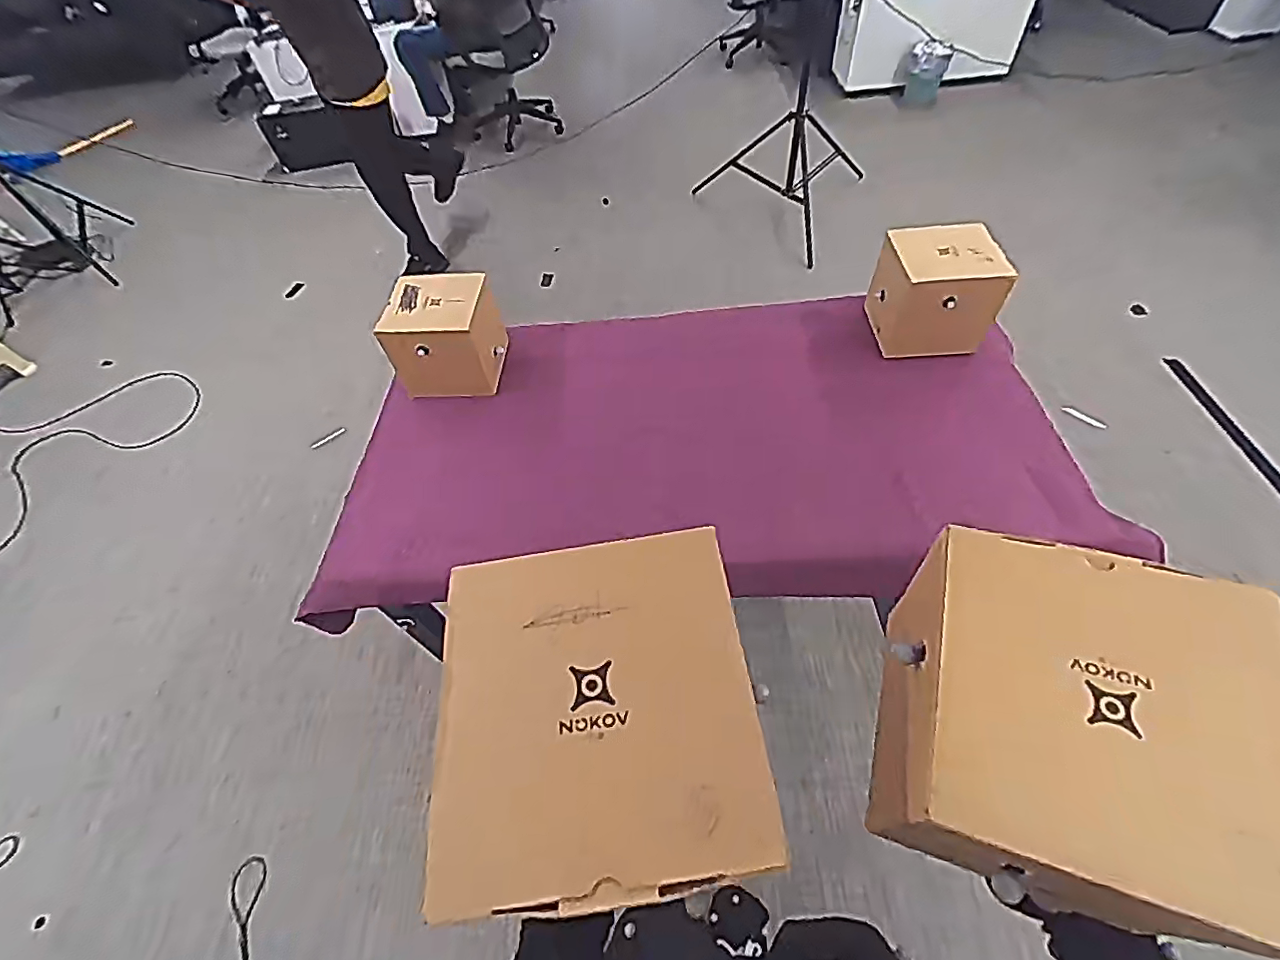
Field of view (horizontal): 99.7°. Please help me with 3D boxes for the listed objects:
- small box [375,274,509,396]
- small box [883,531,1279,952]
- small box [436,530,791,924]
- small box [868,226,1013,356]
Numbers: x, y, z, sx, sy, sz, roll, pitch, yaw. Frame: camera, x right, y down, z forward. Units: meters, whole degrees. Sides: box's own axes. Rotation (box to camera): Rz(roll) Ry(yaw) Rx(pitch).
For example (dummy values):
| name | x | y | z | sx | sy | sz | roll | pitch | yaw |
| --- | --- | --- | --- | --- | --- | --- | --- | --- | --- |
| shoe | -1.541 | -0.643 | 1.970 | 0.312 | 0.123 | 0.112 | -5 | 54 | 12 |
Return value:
| name | x | y | z | sx | sy | sz | roll | pitch | yaw |
| --- | --- | --- | --- | --- | --- | --- | --- | --- | --- |
| small box | -0.375 | -0.279 | 1.059 | 0.179 | 0.176 | 0.168 | 0 | 56 | 4 |
| small box | 0.260 | 0.161 | 0.344 | 0.168 | 0.176 | 0.179 | 9 | 55 | 18 |
| small box | -0.014 | 0.158 | 0.351 | 0.168 | 0.176 | 0.179 | -9 | 54 | 0 |
| small box | 0.544 | -0.349 | 1.014 | 0.179 | 0.176 | 0.168 | -2 | 55 | 3 |
